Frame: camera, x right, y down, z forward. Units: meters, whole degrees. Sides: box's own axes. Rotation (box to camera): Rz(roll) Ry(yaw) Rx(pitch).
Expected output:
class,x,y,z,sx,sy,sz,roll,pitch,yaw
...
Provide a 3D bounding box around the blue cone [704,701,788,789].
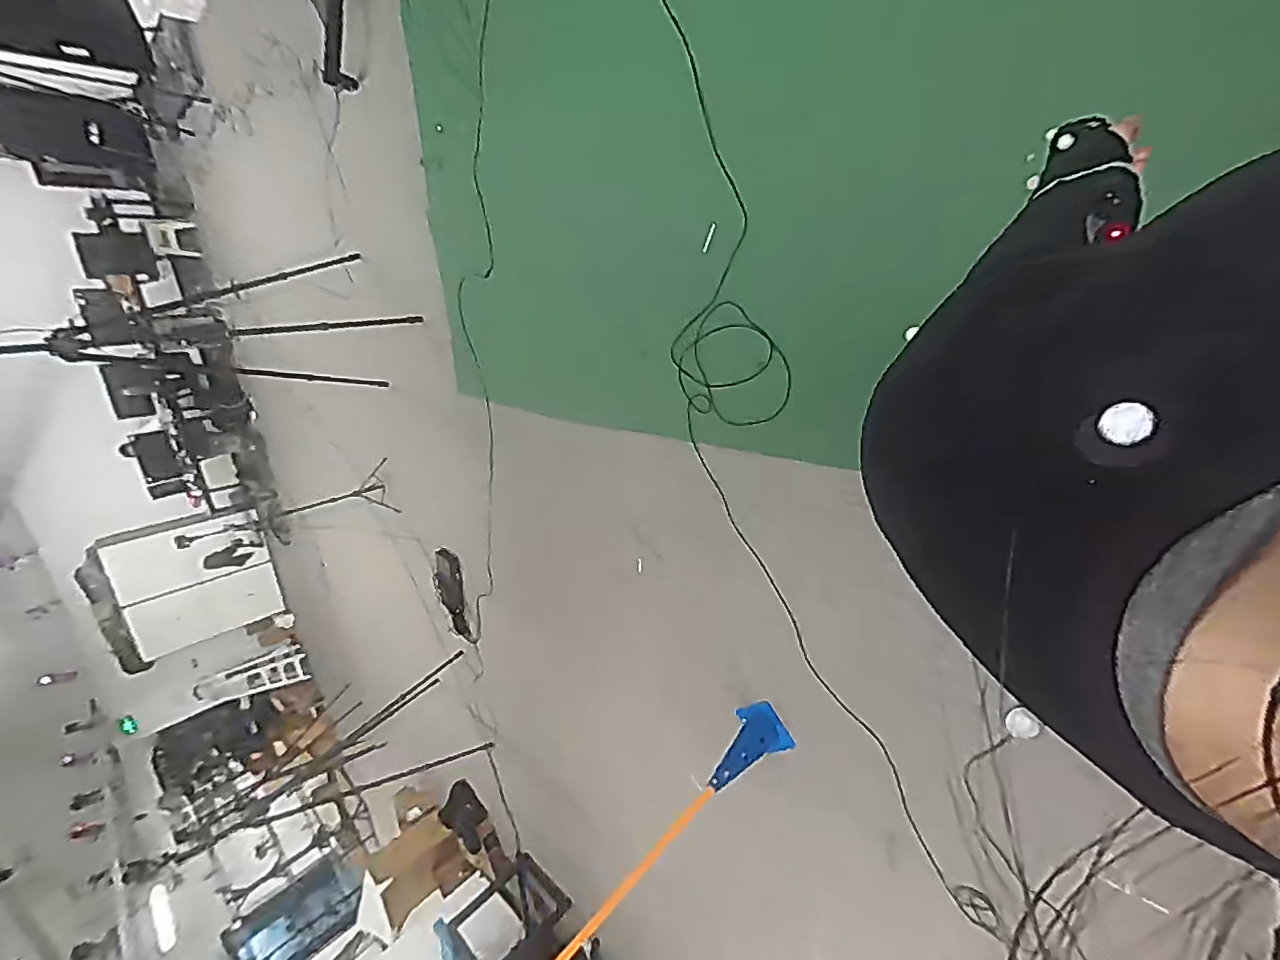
class,x,y,z,sx,sy,sz,roll,pitch,yaw
blue cone,0.372,1.030,2.035,0.192,0.380,0.193,55,138,12
